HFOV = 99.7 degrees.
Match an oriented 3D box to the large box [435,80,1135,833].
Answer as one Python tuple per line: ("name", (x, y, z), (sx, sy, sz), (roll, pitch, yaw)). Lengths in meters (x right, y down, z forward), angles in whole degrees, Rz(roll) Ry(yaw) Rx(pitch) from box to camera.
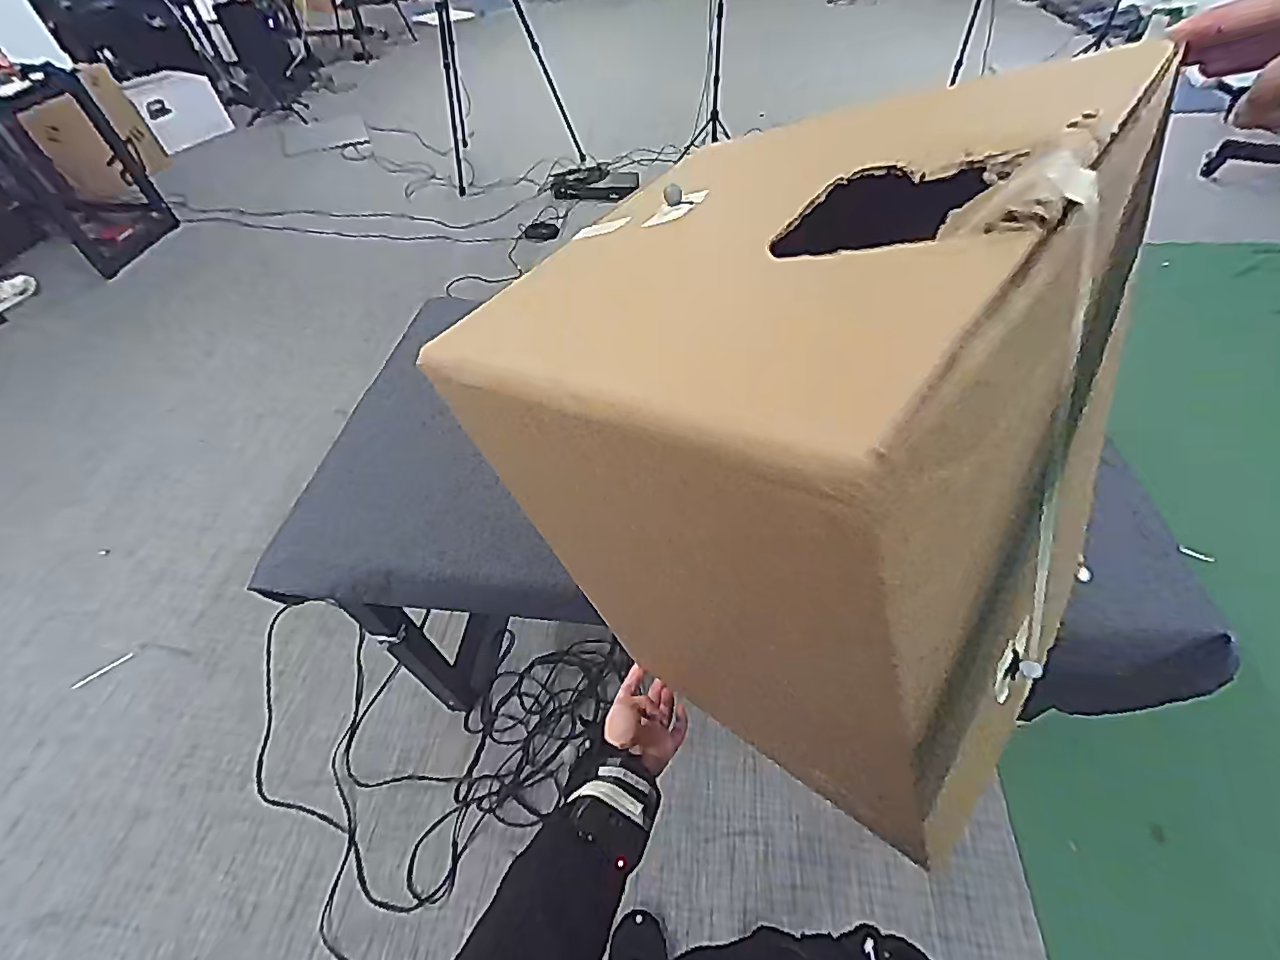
("large box", (0.126, -0.006, 0.440), (0.320, 0.408, 0.320), (20, 59, 42))
